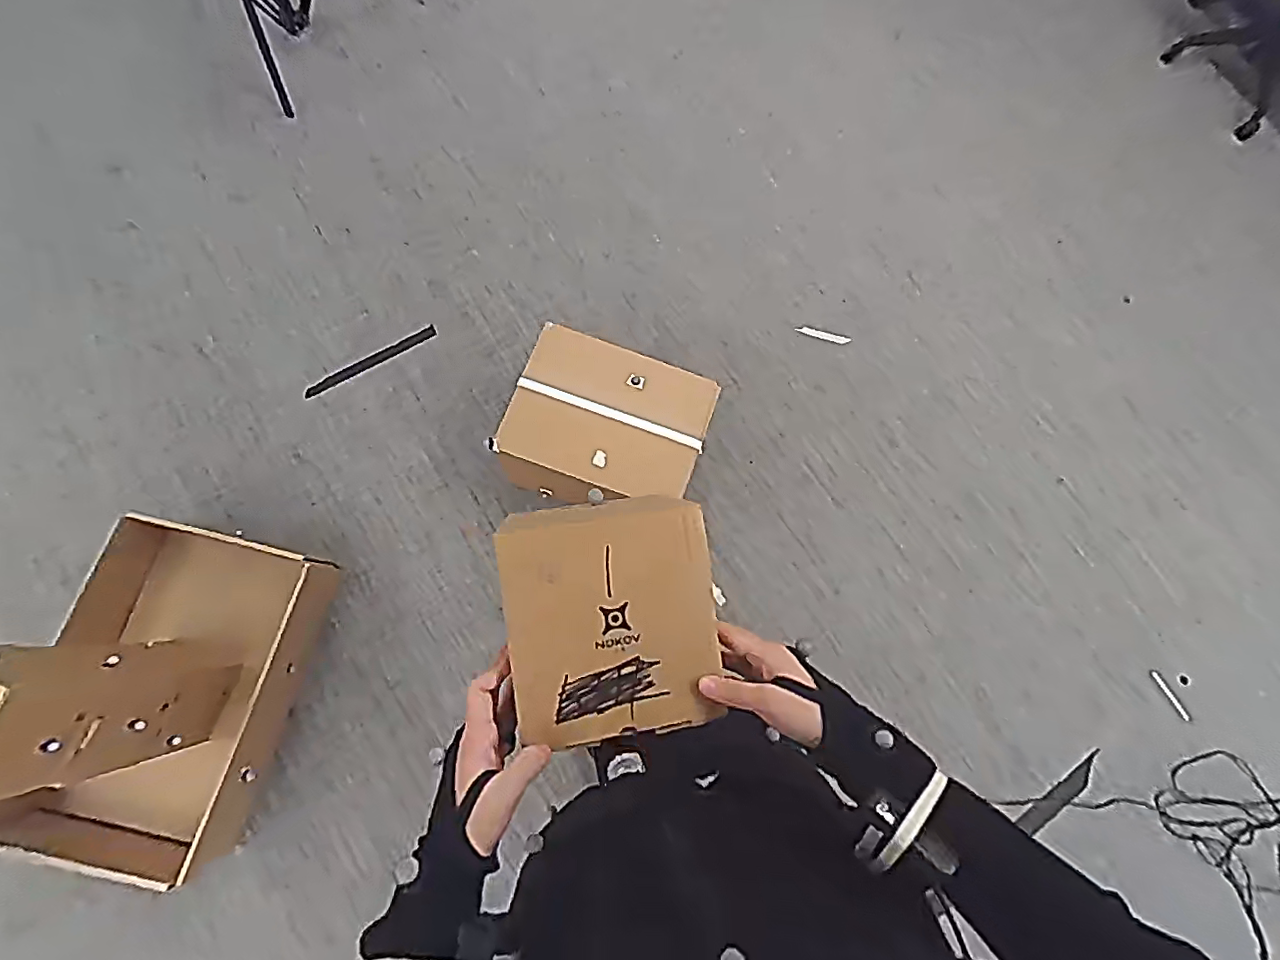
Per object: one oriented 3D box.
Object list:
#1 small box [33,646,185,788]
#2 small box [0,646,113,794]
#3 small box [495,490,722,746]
[{"bbox_3d":[-0.947,0.390,0.924,0.179,0.176,0.168,19,74,-1],"label":"small box"},{"bbox_3d":[-0.937,0.341,0.768,0.179,0.176,0.168,18,74,-1],"label":"small box"},{"bbox_3d":[-0.033,0.108,0.502,0.168,0.176,0.179,-7,92,-9],"label":"small box"}]
